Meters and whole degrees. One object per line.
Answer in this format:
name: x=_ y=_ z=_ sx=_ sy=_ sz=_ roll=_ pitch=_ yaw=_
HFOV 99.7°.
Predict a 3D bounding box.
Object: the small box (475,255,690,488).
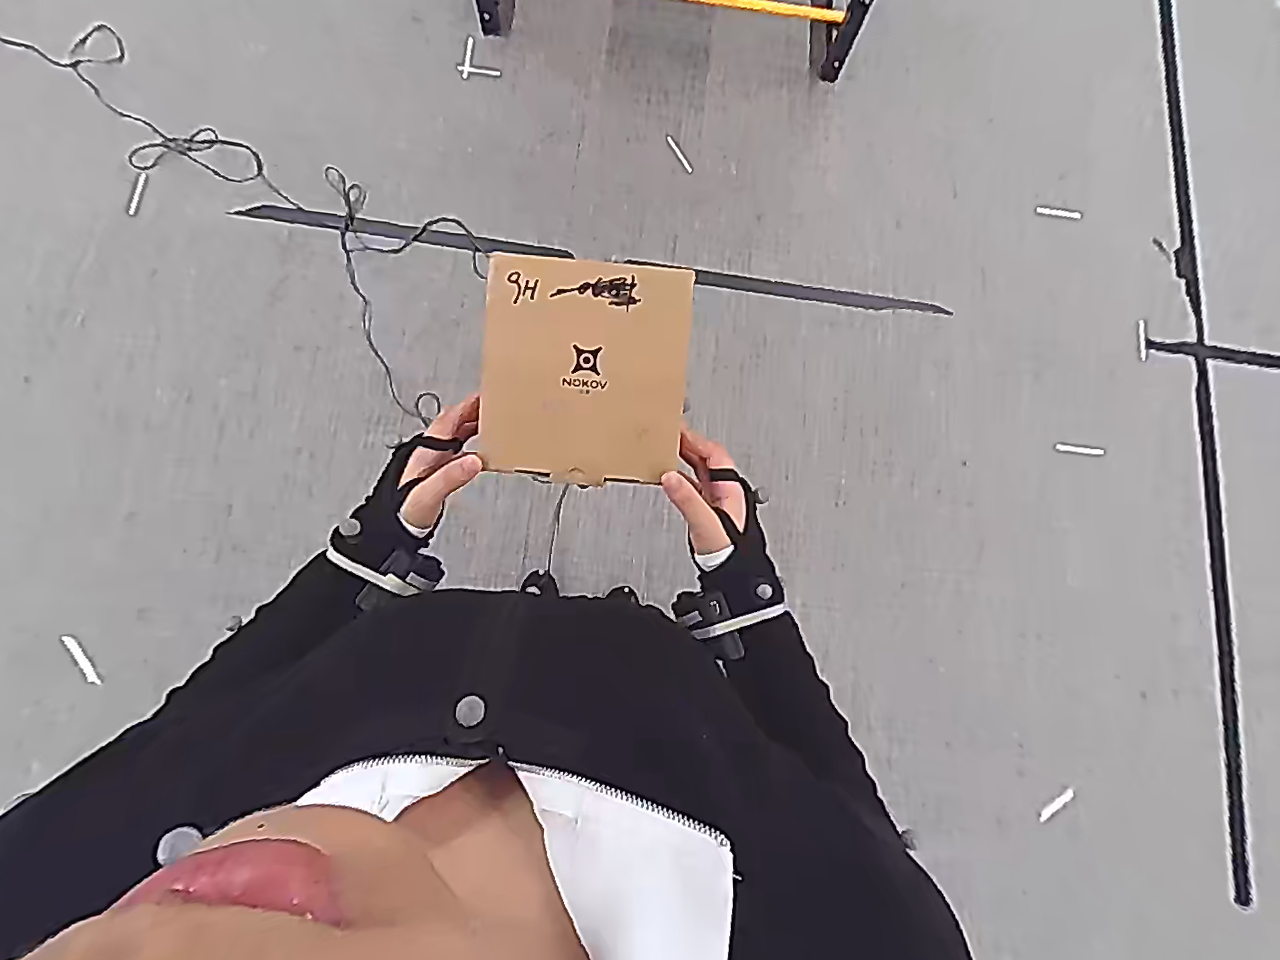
small box: x=-0.049 y=-0.094 z=0.515 sx=0.168 sy=0.176 sz=0.179 roll=4 pitch=96 yaw=-2
